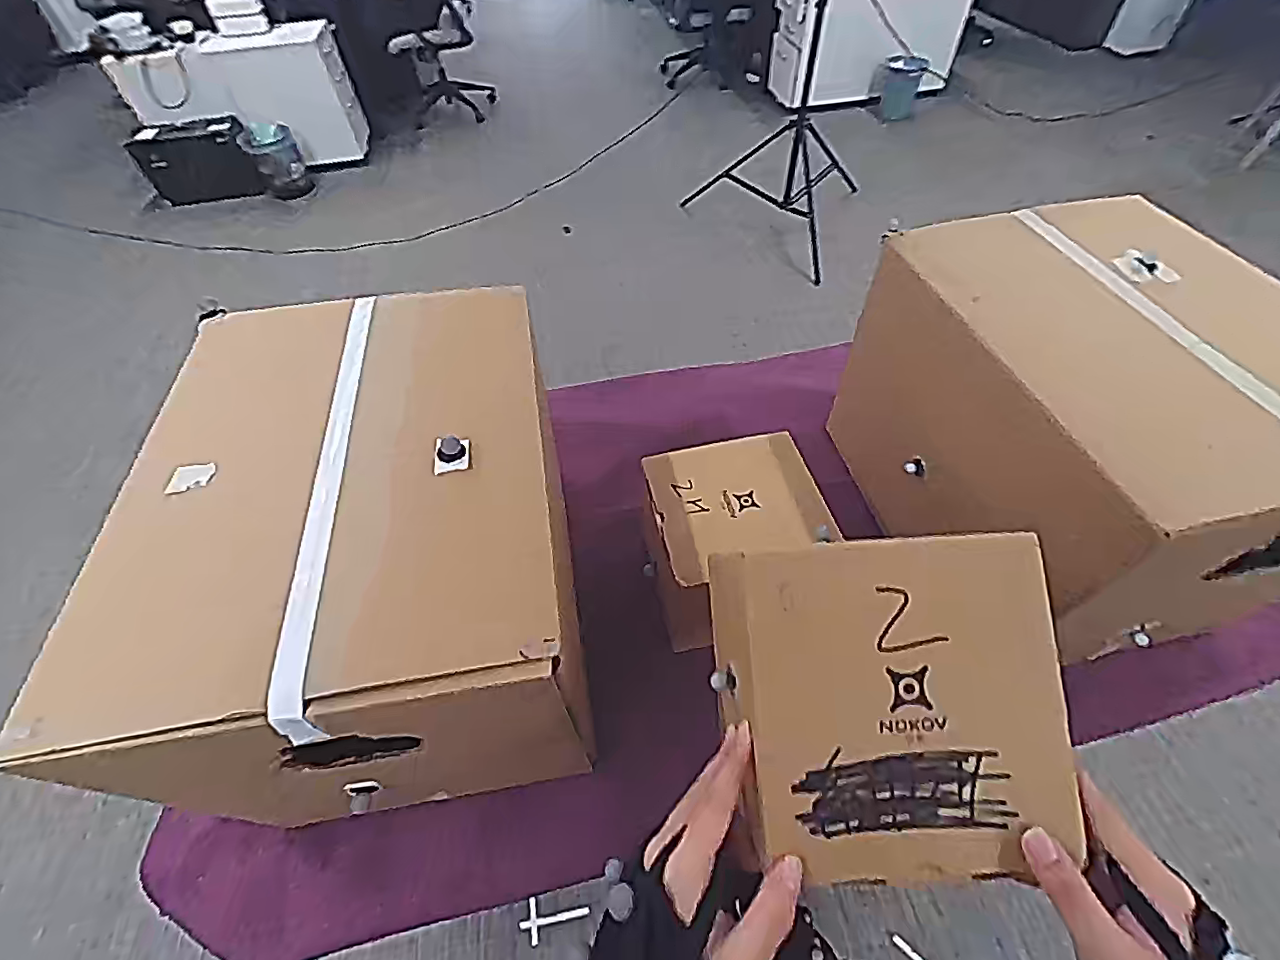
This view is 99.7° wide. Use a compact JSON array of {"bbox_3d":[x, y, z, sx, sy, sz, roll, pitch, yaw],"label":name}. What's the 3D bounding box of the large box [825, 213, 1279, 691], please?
[{"bbox_3d":[0.457,-0.038,0.606,0.320,0.320,0.408,-10,51,-5],"label":"large box"}]
